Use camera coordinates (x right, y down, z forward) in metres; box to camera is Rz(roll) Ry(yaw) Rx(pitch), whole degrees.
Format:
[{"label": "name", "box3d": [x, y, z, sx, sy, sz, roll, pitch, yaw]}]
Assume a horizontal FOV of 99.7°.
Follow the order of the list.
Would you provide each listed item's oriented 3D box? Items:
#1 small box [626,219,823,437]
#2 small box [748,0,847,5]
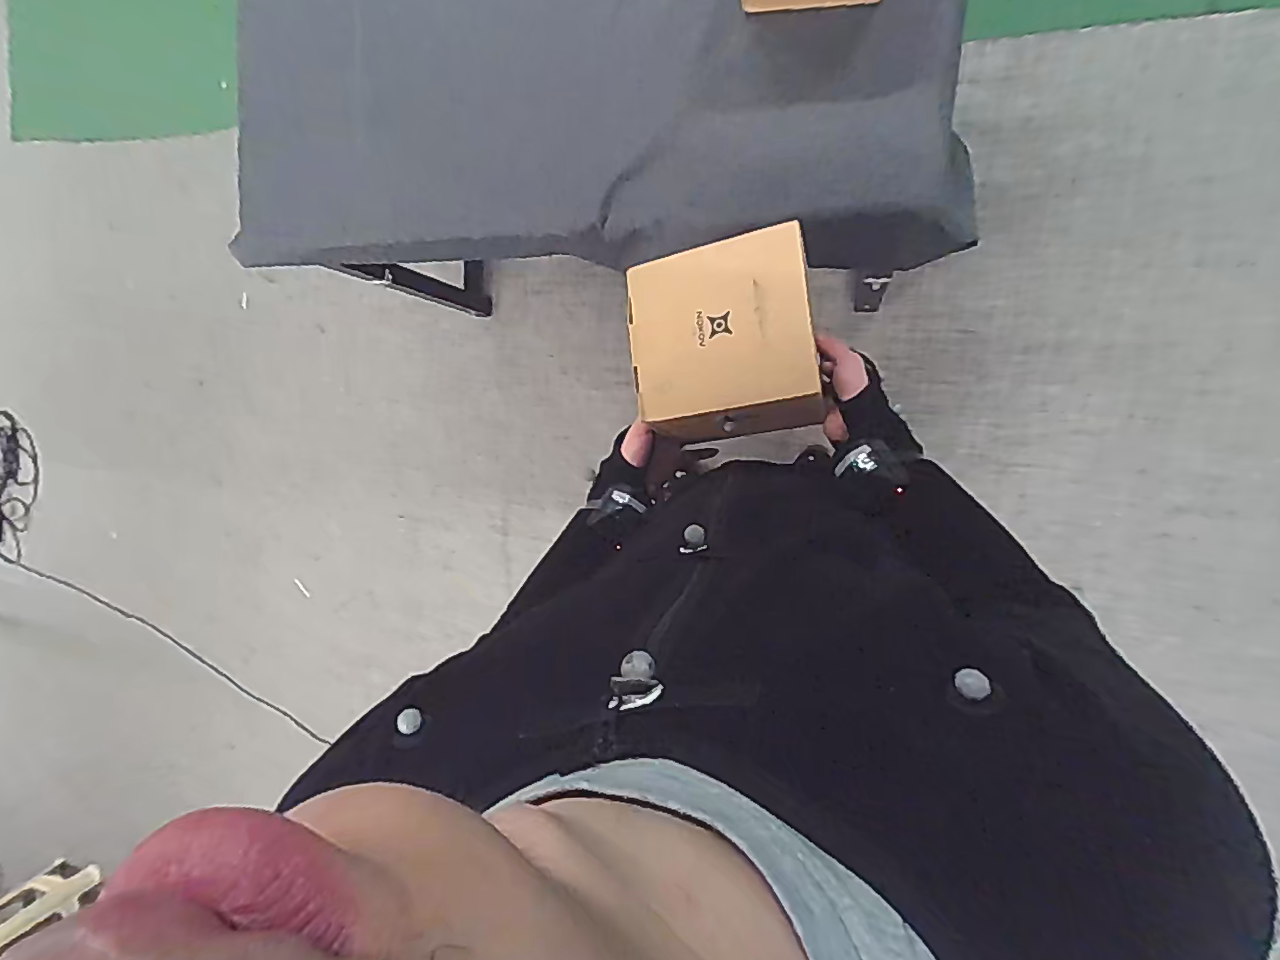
[{"label": "small box", "box3d": [0.100, -0.147, 0.595, 0.179, 0.176, 0.168, -7, 85, 20]}, {"label": "small box", "box3d": [0.206, -0.688, 0.614, 0.179, 0.176, 0.168, 11, 100, 18]}]
